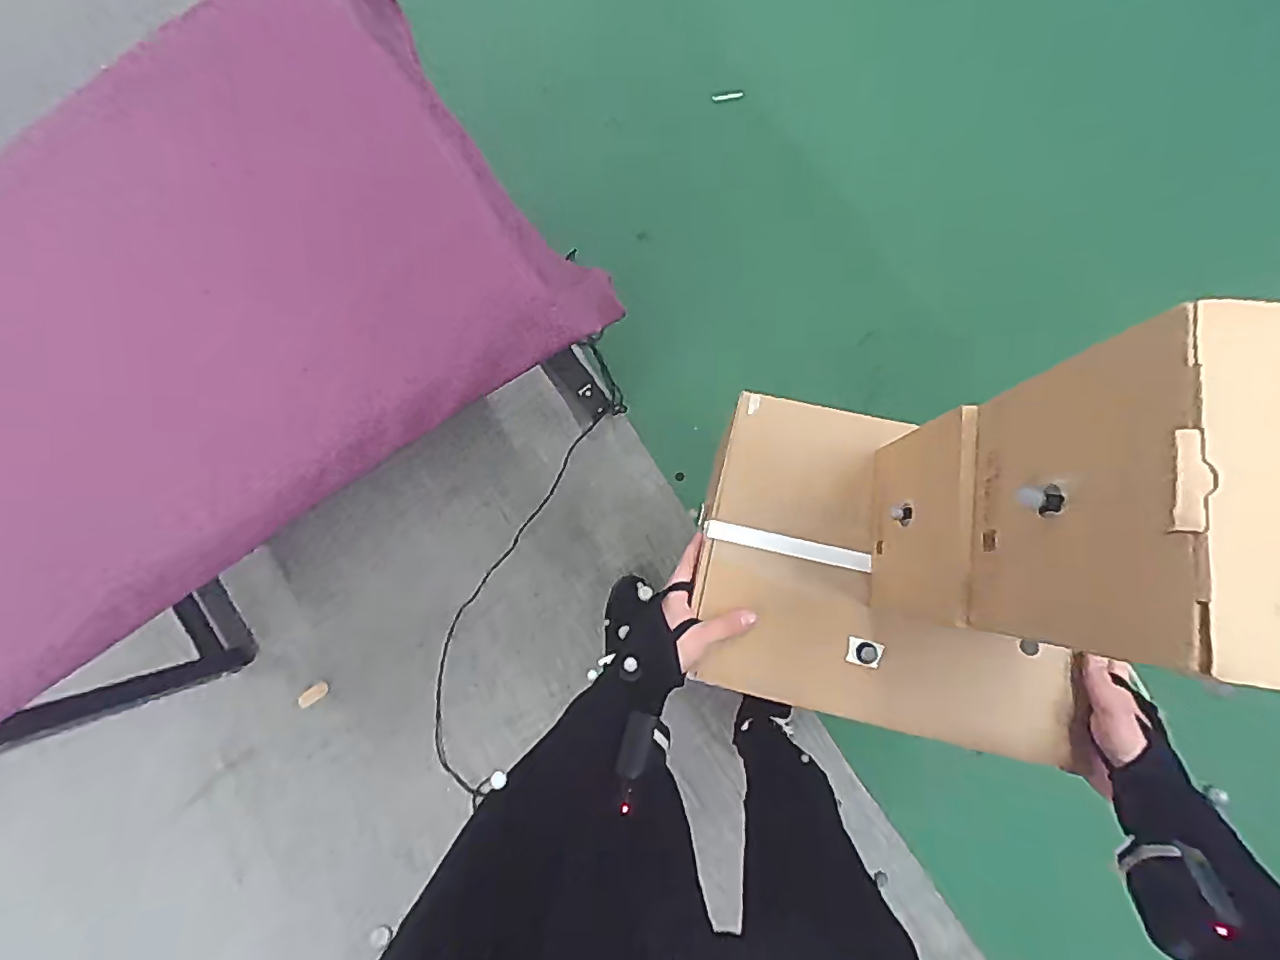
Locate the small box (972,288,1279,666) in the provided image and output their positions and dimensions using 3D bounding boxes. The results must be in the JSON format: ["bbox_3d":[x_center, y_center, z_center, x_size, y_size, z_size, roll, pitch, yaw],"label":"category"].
[{"bbox_3d":[0.319,0.014,0.306,0.179,0.176,0.168,7,82,5],"label":"small box"}]

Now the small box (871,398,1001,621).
[{"bbox_3d":[0.318,0.039,0.469,0.179,0.176,0.168,6,82,4],"label":"small box"}]
